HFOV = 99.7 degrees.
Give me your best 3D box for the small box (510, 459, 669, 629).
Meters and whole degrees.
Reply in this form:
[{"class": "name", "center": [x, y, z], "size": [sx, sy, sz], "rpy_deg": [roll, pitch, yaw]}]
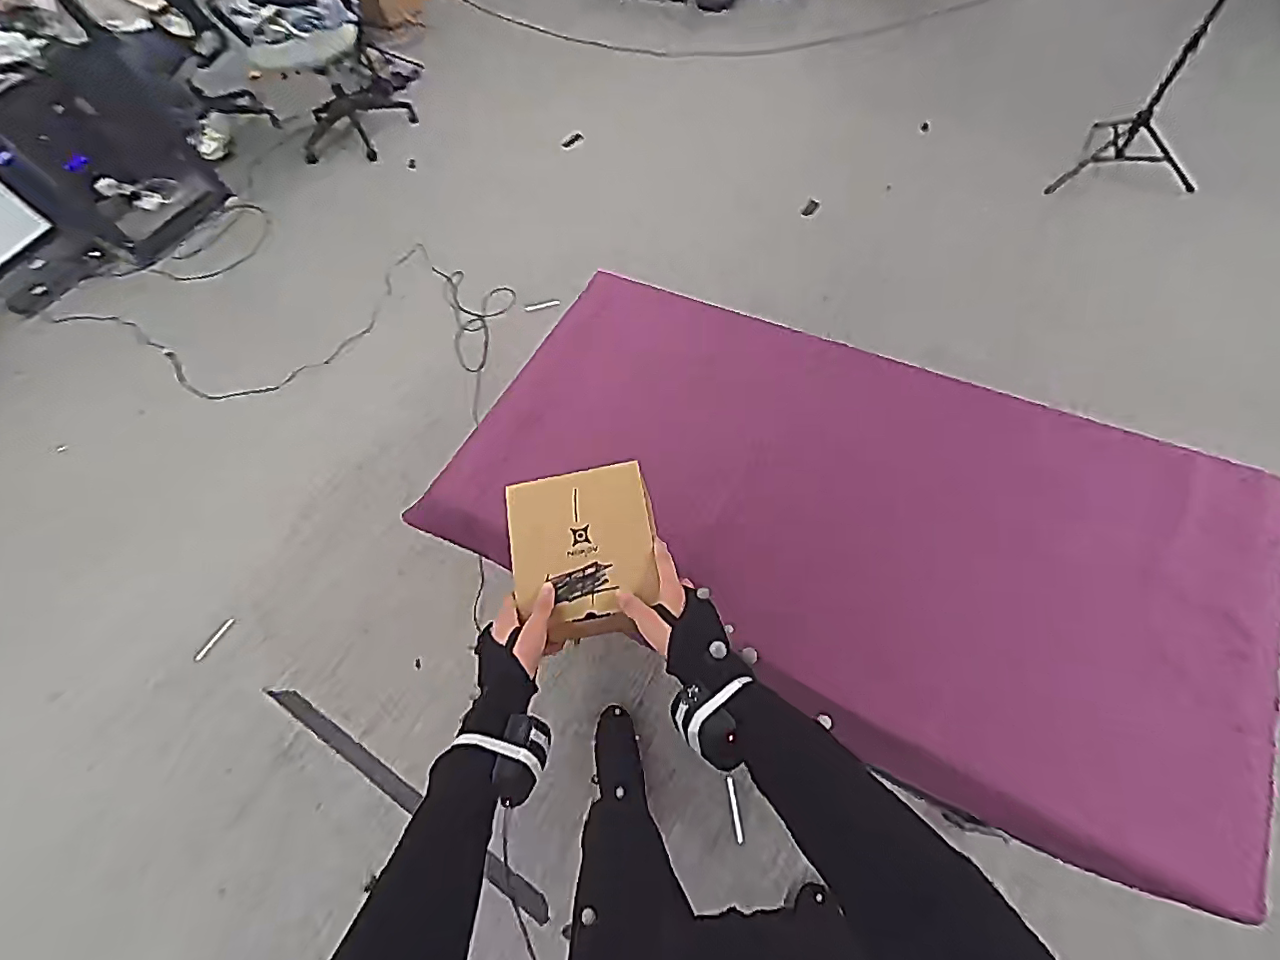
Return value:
[{"class": "small box", "center": [-0.058, 0.094, 0.705], "size": [0.168, 0.176, 0.179], "rpy_deg": [-11, 69, 2]}]
